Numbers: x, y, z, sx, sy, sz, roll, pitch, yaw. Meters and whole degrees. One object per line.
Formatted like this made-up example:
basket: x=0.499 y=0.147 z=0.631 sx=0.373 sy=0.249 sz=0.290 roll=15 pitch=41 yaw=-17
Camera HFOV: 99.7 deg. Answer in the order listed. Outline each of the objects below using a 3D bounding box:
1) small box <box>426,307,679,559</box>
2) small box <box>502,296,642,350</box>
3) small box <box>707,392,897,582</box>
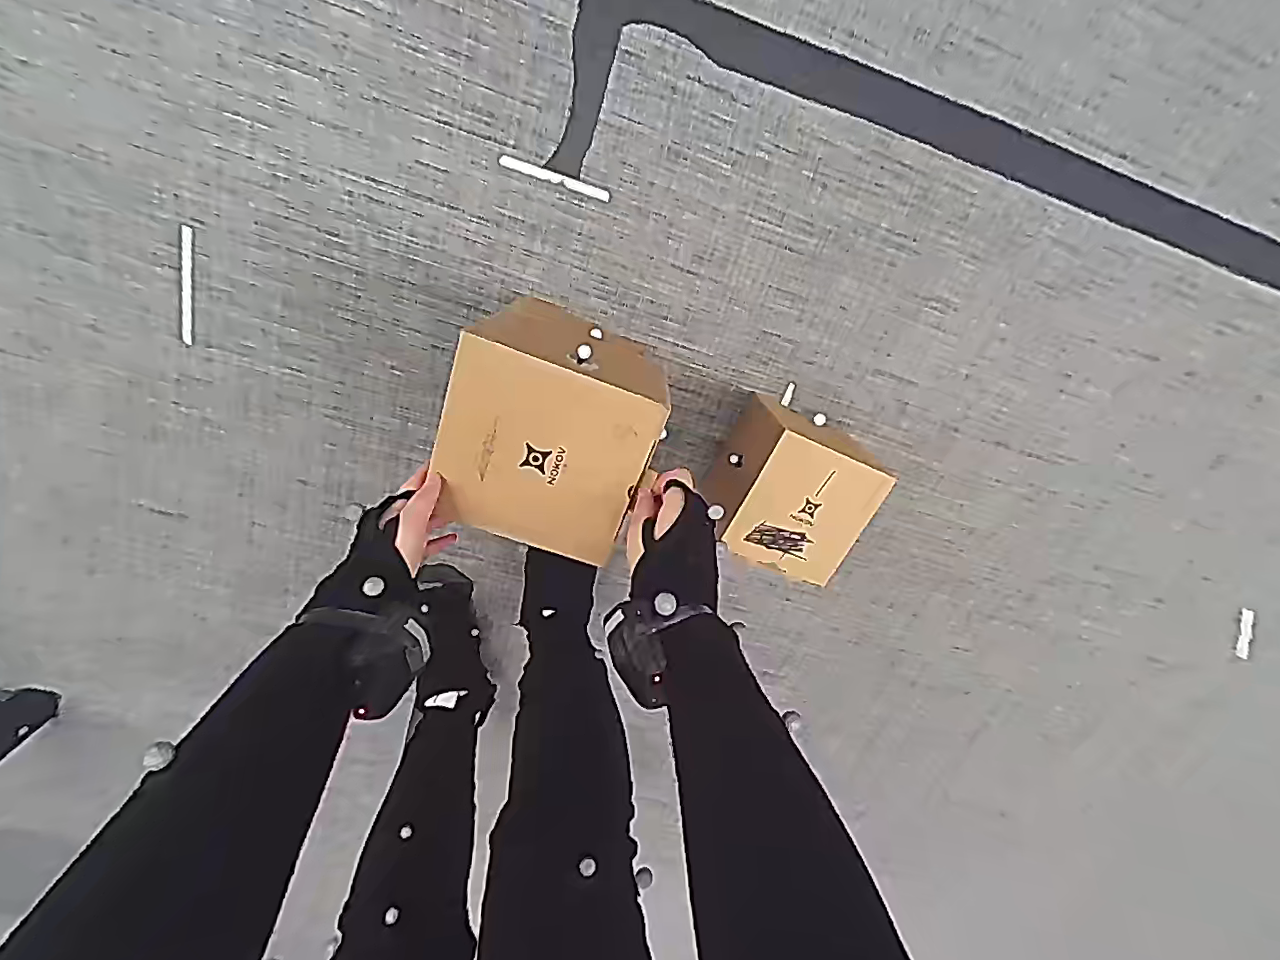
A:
small box: x=-0.077 y=-0.056 z=0.524 sx=0.179 sy=0.176 sz=0.168 roll=20 pitch=112 yaw=-8
small box: x=-0.099 y=-0.115 z=0.678 sx=0.179 sy=0.176 sz=0.168 roll=22 pitch=112 yaw=-12
small box: x=0.205 y=0.003 z=0.747 sx=0.168 sy=0.176 sz=0.179 roll=22 pitch=111 yaw=-12
